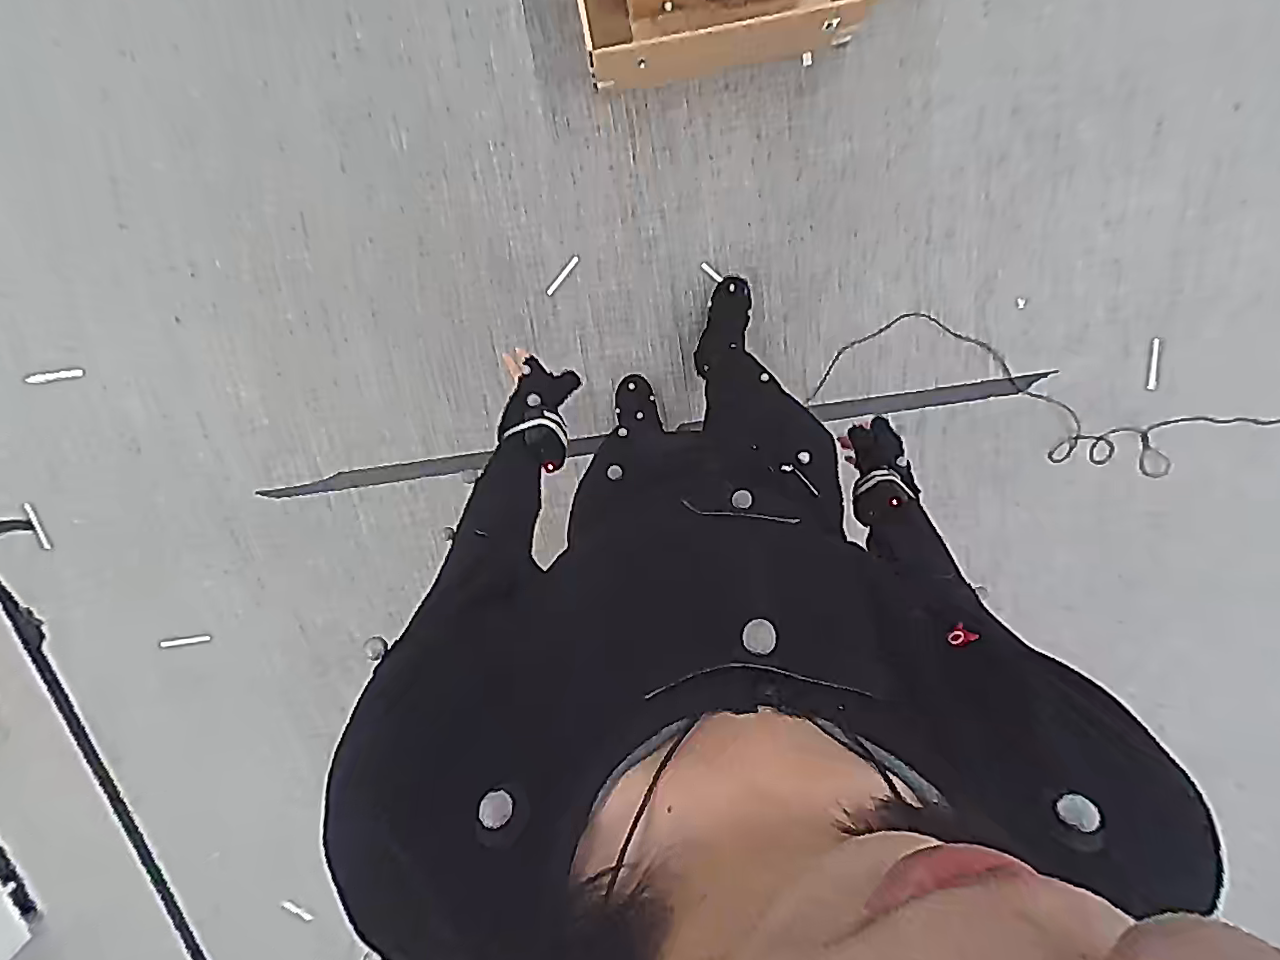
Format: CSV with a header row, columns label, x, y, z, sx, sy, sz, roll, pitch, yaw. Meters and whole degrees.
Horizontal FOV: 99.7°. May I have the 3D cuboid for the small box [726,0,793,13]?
label,x,y,z,sx,sy,sz,roll,pitch,yaw
small box,0.270,-1.110,1.106,0.179,0.176,0.168,-9,105,3
